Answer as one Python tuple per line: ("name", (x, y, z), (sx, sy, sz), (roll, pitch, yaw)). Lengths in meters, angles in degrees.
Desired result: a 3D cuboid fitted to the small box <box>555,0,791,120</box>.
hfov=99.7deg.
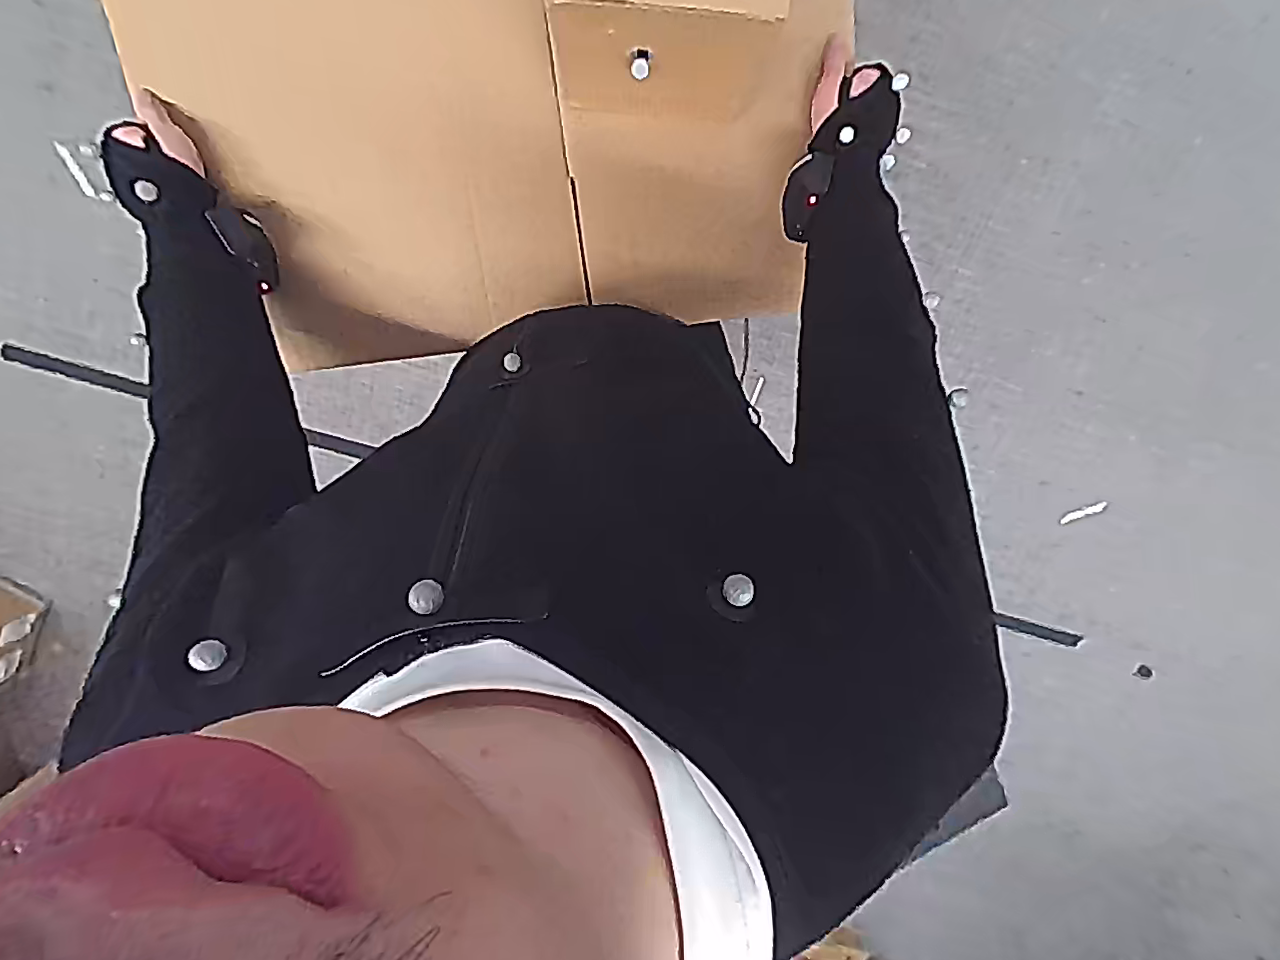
("small box", (0.027, -0.433, 0.456), (0.179, 0.176, 0.168), (4, 102, -3))
